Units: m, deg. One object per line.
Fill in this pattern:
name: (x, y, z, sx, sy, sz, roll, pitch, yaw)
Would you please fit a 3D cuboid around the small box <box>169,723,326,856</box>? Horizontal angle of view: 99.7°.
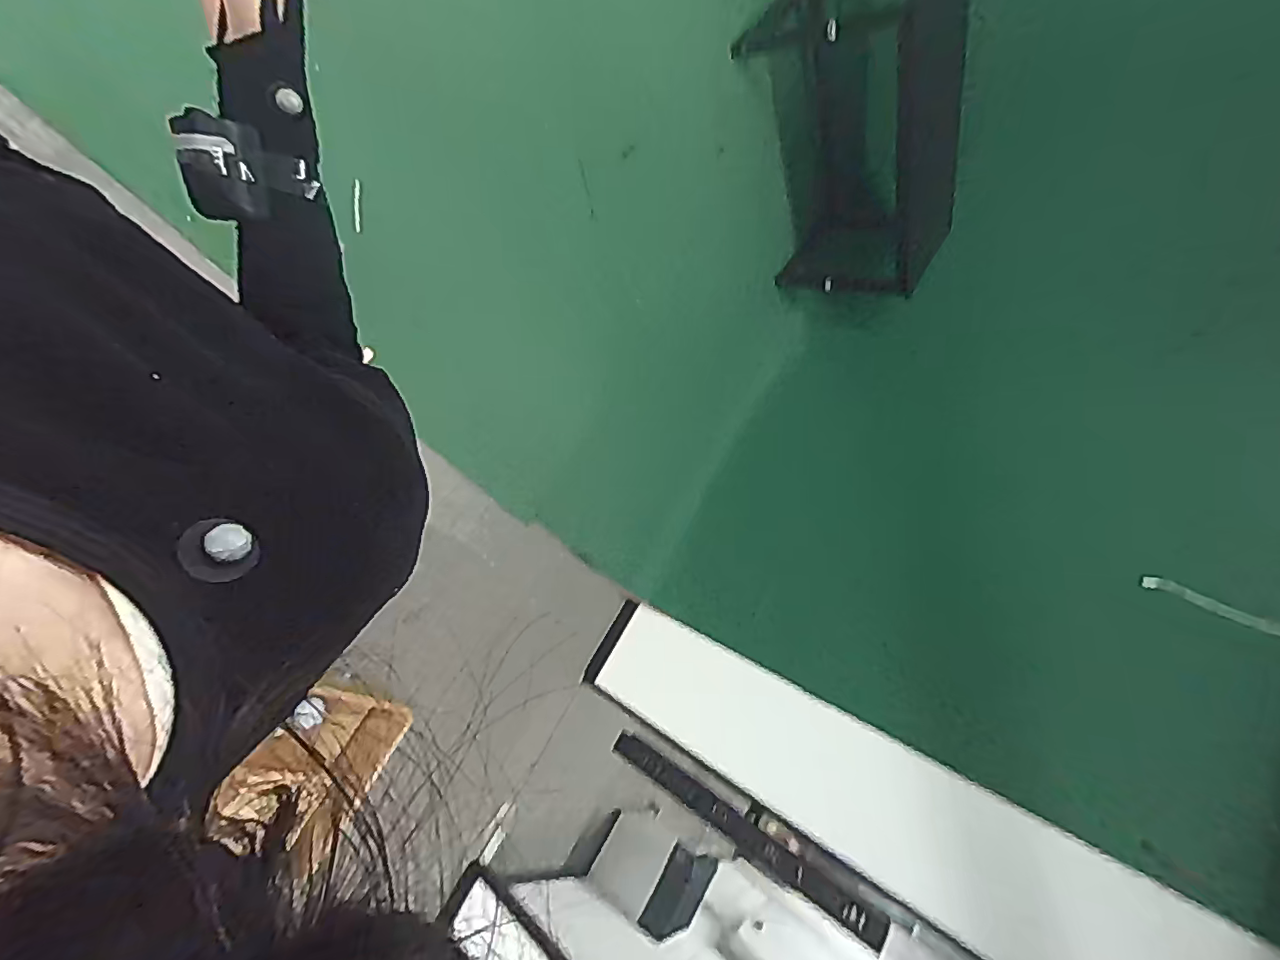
small box: (-0.783, 0.610, 1.078, 0.168, 0.176, 0.179, -60, 141, -13)
